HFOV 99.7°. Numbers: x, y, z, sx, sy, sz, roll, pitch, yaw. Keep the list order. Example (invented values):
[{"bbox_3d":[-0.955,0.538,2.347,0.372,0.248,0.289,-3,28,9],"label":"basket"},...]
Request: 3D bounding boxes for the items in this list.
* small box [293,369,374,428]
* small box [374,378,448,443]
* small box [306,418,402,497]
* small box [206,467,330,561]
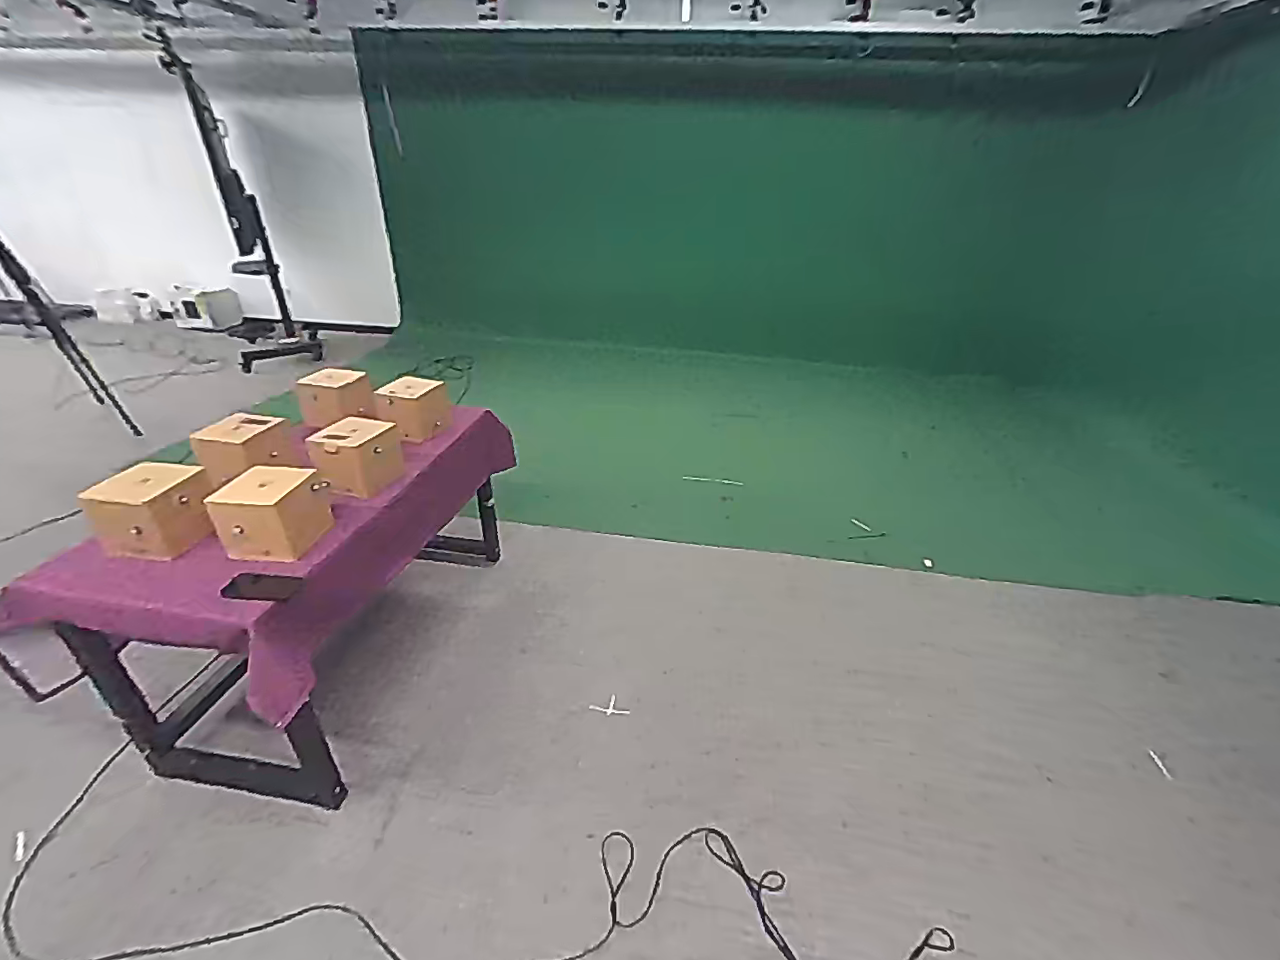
[{"bbox_3d":[-1.108,-0.292,1.967,0.179,0.176,0.168,9,31,10],"label":"small box"},{"bbox_3d":[-0.802,-0.249,1.914,0.168,0.176,0.179,10,30,14],"label":"small box"},{"bbox_3d":[-0.829,-0.067,1.591,0.168,0.176,0.179,9,29,12],"label":"small box"},{"bbox_3d":[-0.895,0.083,1.324,0.168,0.176,0.179,3,28,2],"label":"small box"}]
